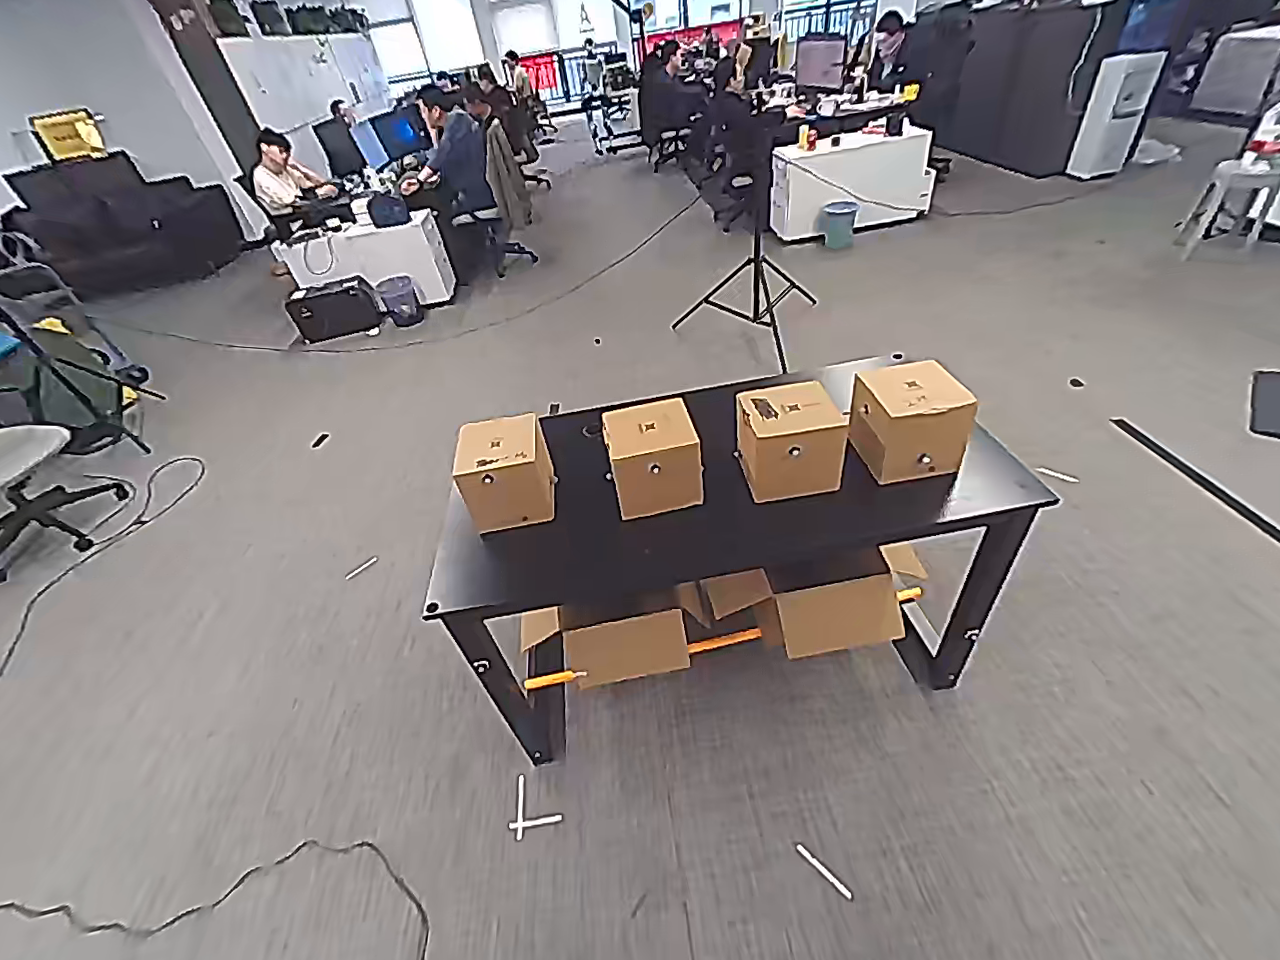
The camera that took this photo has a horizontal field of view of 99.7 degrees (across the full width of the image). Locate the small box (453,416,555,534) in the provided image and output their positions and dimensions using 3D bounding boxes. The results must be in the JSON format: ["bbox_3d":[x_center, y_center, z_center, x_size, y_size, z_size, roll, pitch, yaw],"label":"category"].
[{"bbox_3d":[-0.282,-0.012,1.160,0.168,0.176,0.179,-10,40,-1],"label":"small box"}]

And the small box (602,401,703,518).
[{"bbox_3d":[0.026,-0.039,1.133,0.179,0.176,0.168,-11,41,-3],"label":"small box"}]

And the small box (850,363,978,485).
[{"bbox_3d":[0.545,-0.115,1.106,0.168,0.176,0.179,-10,40,2],"label":"small box"}]

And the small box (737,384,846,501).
[{"bbox_3d":[0.303,-0.073,1.111,0.179,0.176,0.168,-9,40,2],"label":"small box"}]
